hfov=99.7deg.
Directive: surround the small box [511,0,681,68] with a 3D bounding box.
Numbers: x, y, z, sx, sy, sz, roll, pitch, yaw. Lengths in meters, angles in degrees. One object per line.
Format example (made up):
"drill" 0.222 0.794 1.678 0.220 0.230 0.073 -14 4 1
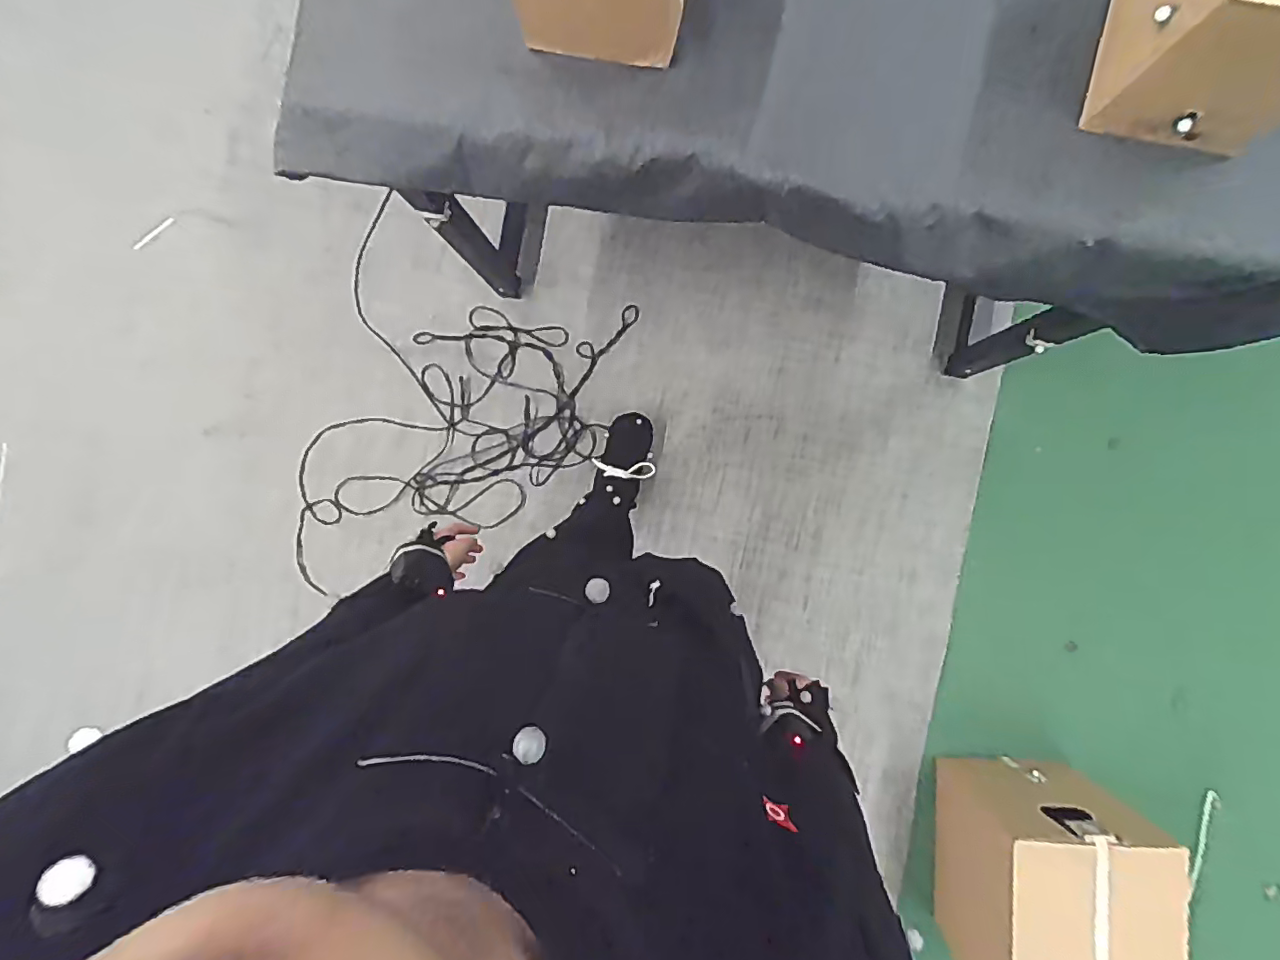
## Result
"small box" -0.042 -0.564 0.546 0.179 0.176 0.168 11 91 2
